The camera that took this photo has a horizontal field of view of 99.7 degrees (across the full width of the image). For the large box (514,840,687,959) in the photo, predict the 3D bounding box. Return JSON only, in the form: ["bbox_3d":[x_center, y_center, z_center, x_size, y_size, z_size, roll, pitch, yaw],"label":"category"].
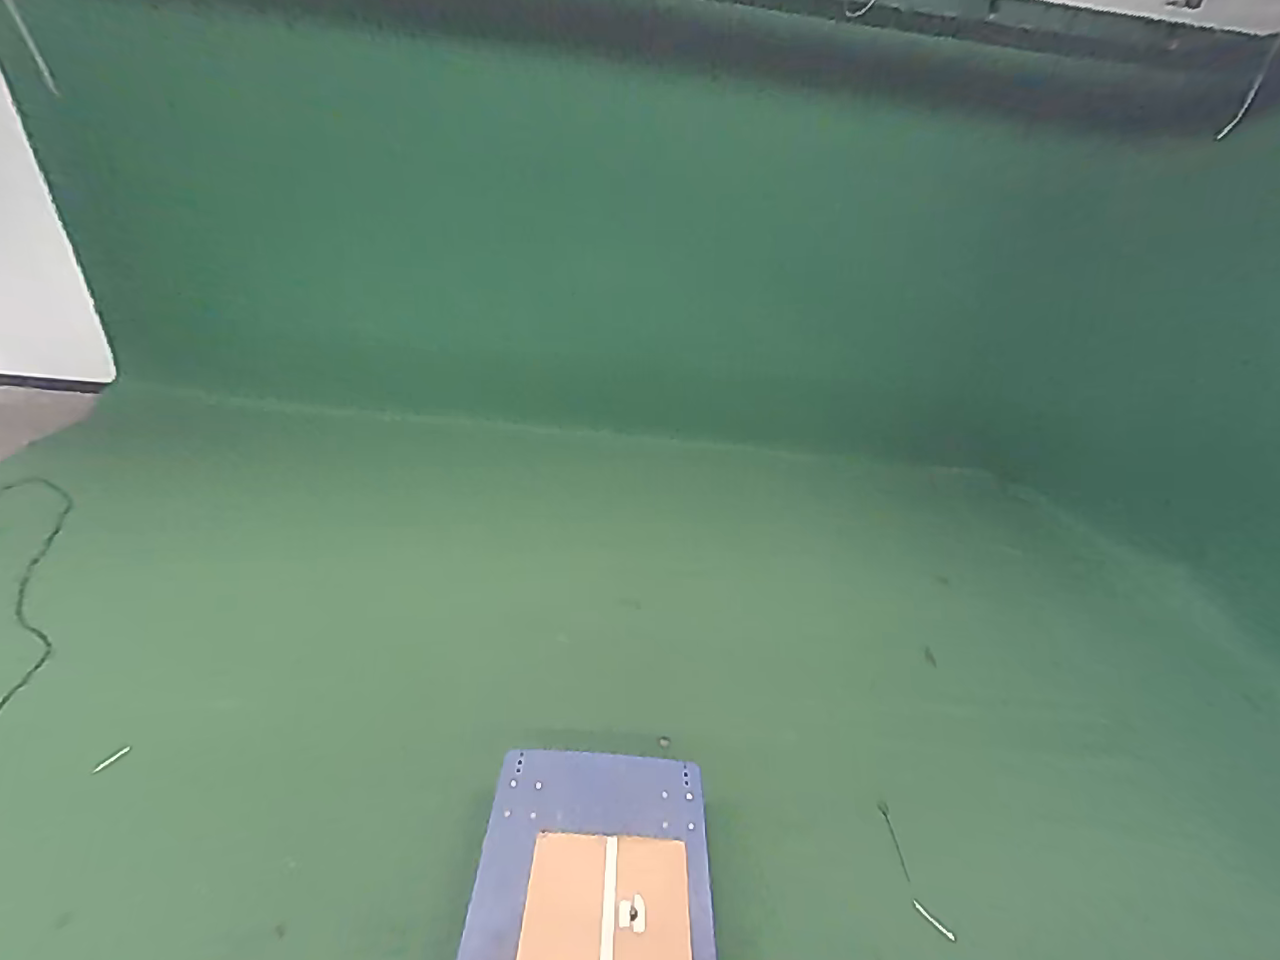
[{"bbox_3d":[-0.081,0.982,1.023,0.320,0.320,0.408,6,29,-3],"label":"large box"}]
